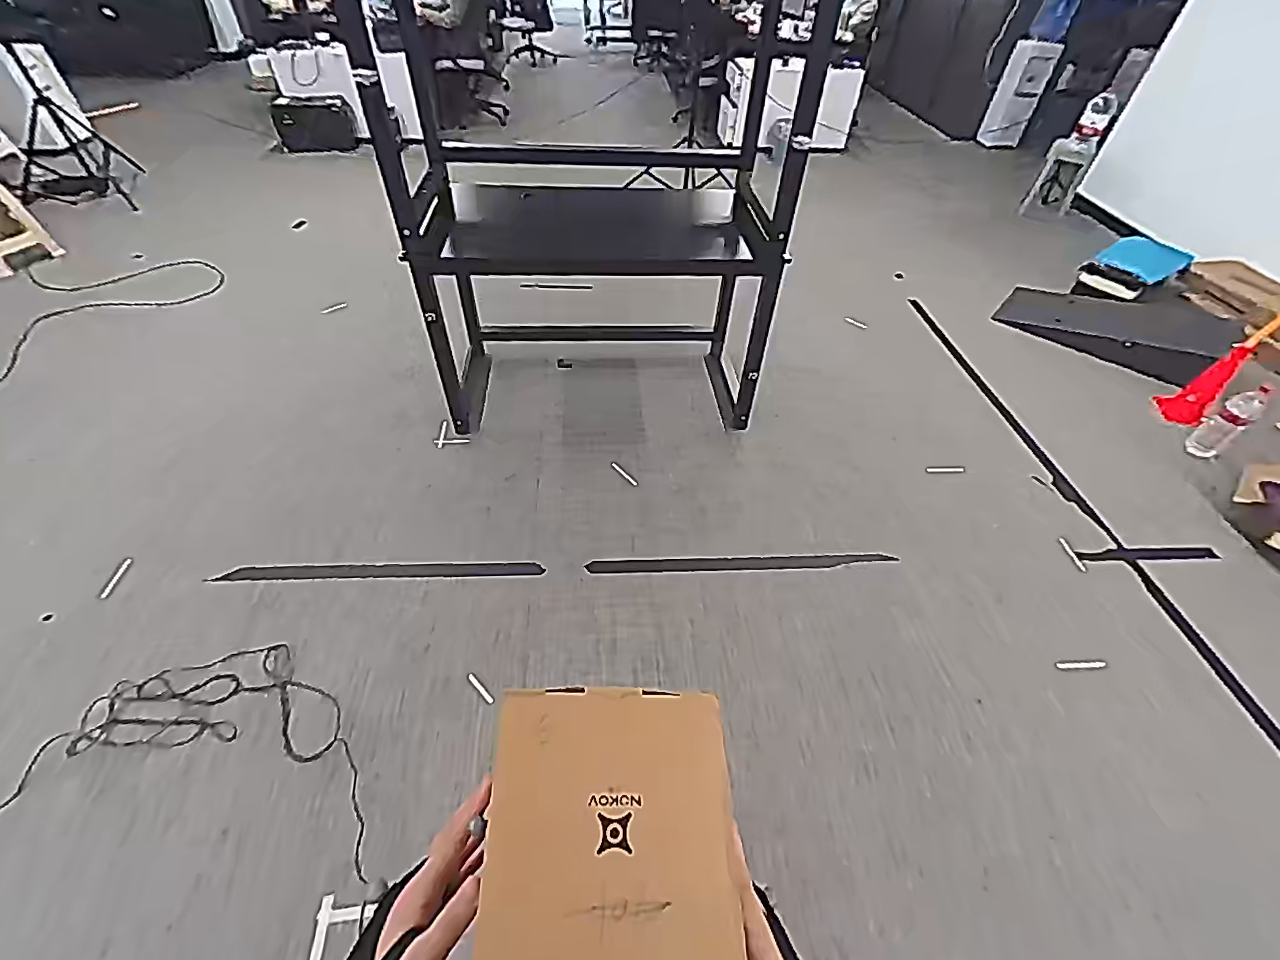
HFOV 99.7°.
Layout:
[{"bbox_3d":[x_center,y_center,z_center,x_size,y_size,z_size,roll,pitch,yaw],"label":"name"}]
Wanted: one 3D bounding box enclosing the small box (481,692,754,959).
[{"bbox_3d":[-0.028,0.280,0.417,0.168,0.176,0.179,6,53,-10],"label":"small box"}]
